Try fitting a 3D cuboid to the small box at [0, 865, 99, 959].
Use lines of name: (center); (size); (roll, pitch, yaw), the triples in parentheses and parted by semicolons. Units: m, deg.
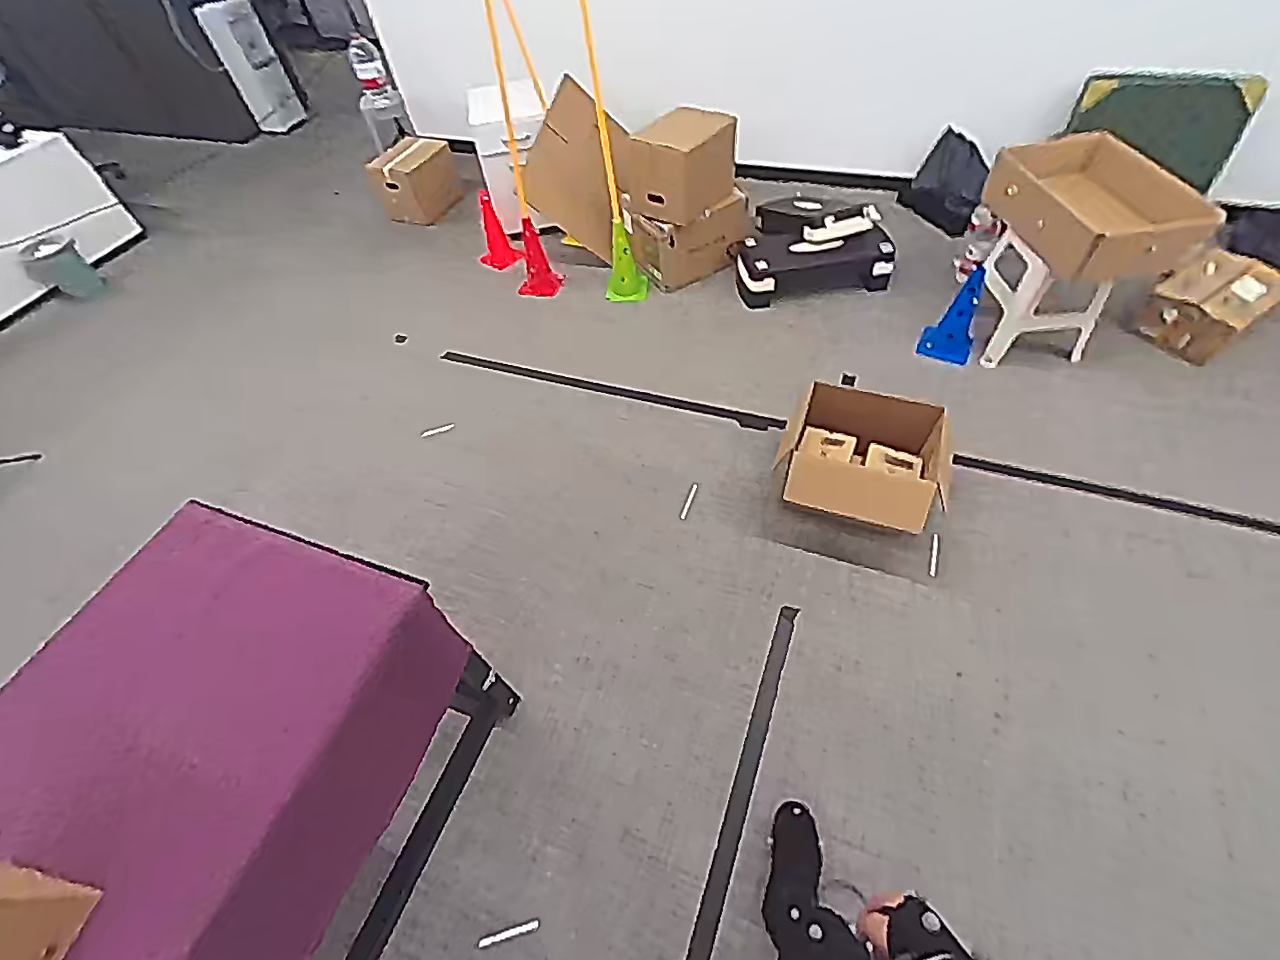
small box: (-0.828, 0.565, 0.635); (0.179, 0.176, 0.168); (6, 55, 11)
